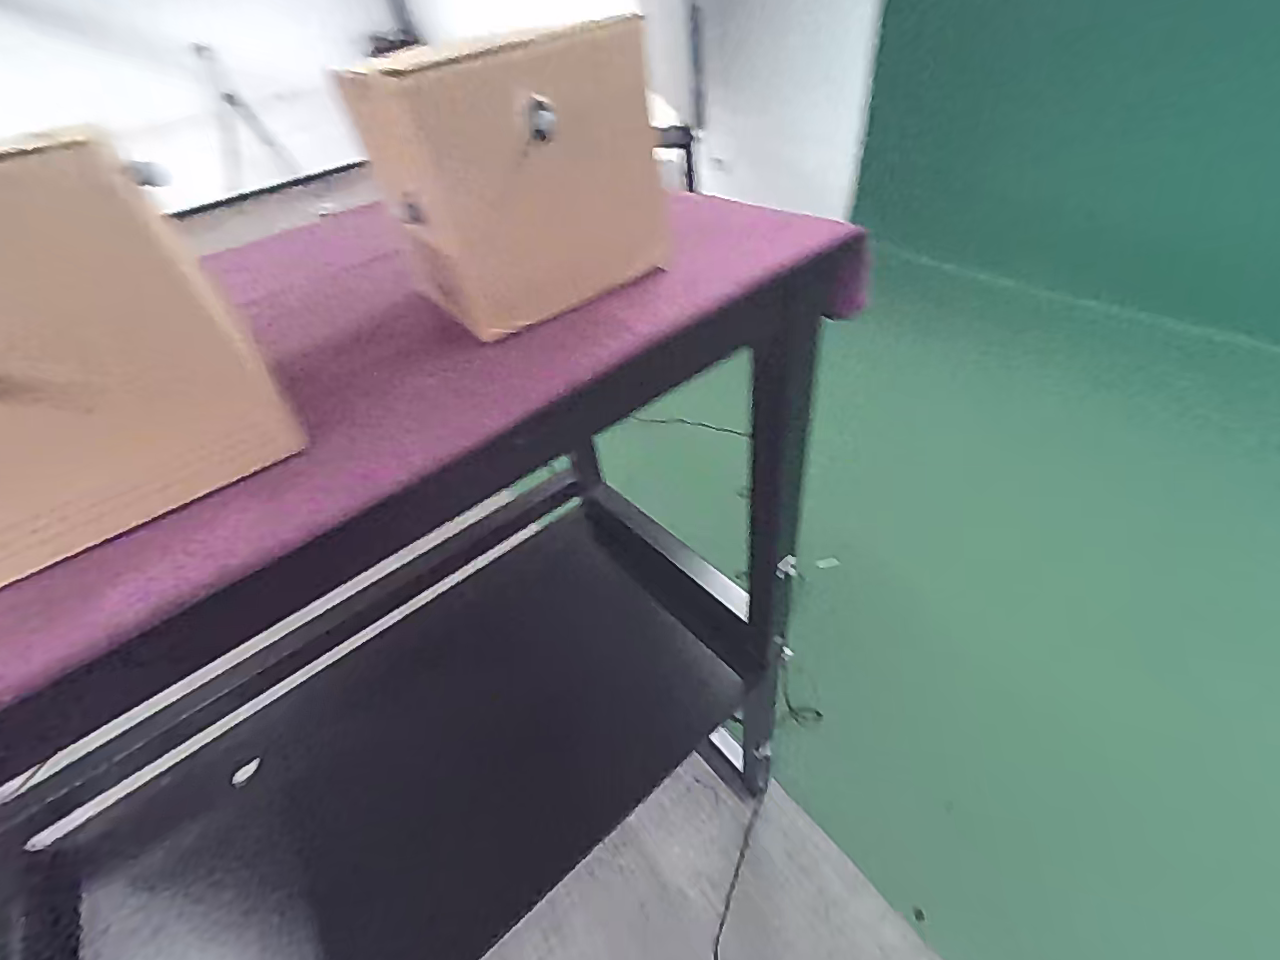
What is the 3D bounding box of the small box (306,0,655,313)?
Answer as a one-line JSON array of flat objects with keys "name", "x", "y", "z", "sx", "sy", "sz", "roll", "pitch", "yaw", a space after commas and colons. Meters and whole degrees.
[{"name": "small box", "x": -0.106, "y": -0.248, "z": 0.403, "sx": 0.179, "sy": 0.176, "sz": 0.168, "roll": -29, "pitch": 47, "yaw": -19}]
